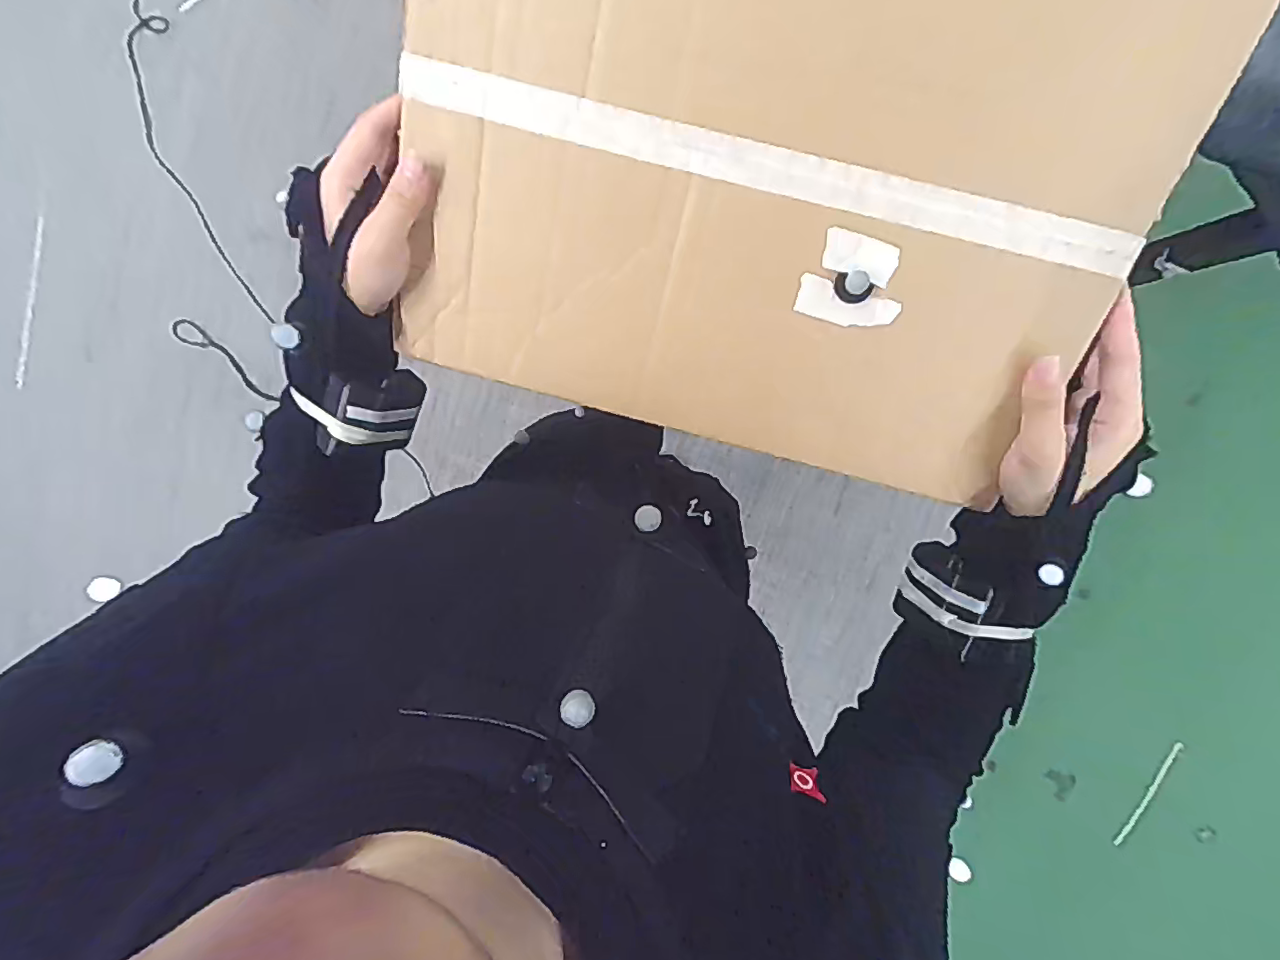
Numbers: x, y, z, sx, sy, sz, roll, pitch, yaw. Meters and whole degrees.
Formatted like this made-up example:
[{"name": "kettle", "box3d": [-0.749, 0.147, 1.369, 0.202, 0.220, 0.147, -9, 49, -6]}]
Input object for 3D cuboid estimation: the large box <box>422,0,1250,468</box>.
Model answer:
[{"name": "large box", "box3d": [0.090, -0.245, 0.436, 0.408, 0.320, 0.320, 14, 115, 0]}]
